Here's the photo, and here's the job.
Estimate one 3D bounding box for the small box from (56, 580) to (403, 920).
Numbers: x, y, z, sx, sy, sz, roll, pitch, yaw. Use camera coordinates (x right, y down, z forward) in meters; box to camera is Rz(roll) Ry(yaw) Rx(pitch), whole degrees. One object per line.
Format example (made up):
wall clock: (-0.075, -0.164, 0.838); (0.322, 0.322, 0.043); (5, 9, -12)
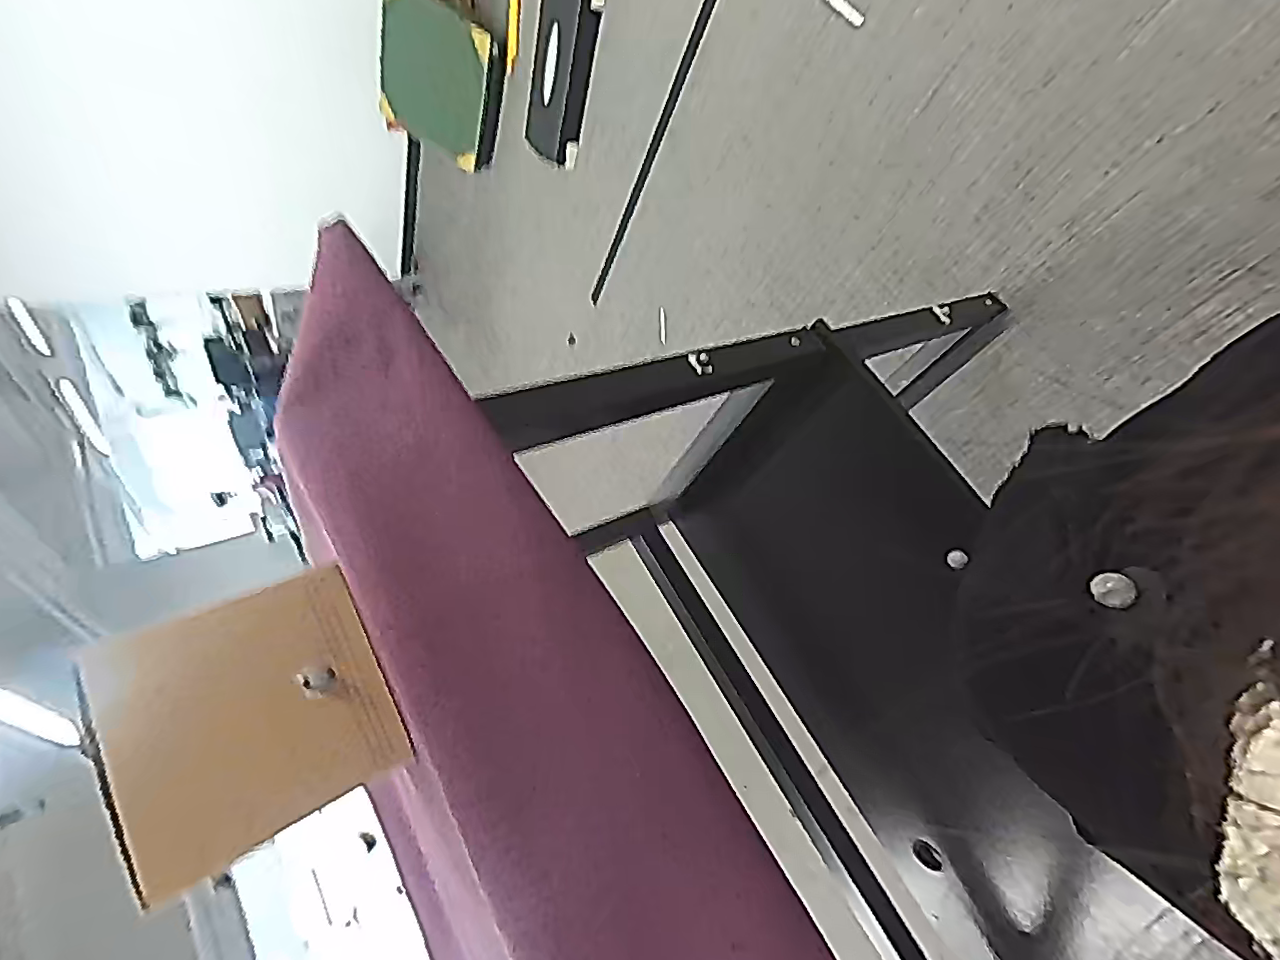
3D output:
small box: (-0.316, 0.199, 0.446); (0.179, 0.176, 0.168); (60, 145, 13)
